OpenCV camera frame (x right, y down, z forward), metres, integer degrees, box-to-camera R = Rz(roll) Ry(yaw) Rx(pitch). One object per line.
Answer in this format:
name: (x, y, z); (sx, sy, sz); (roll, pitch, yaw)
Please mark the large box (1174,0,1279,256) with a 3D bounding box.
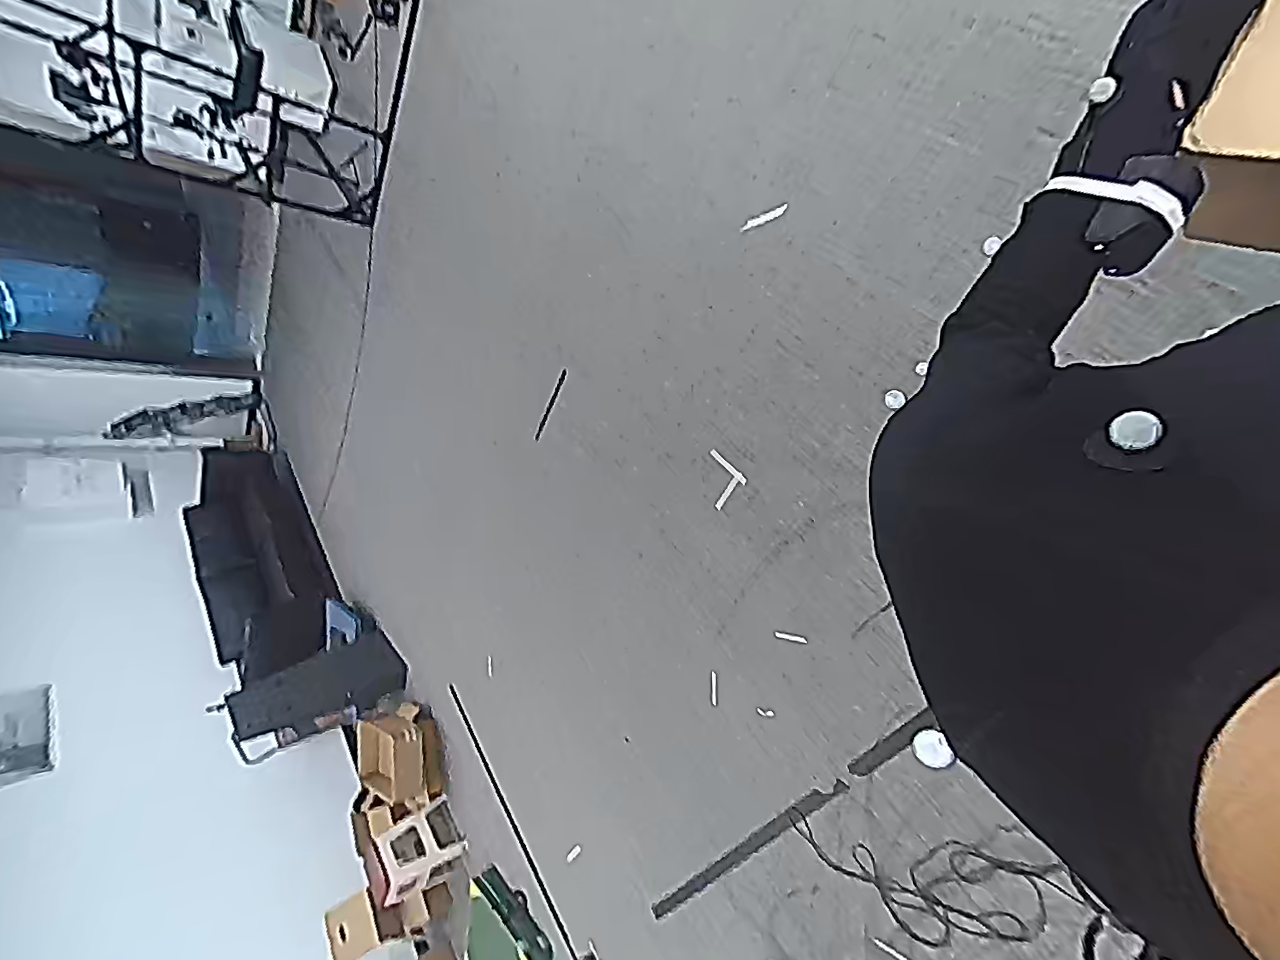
large box: (0.662, -0.304, 0.329); (0.408, 0.320, 0.320); (34, 120, 37)
